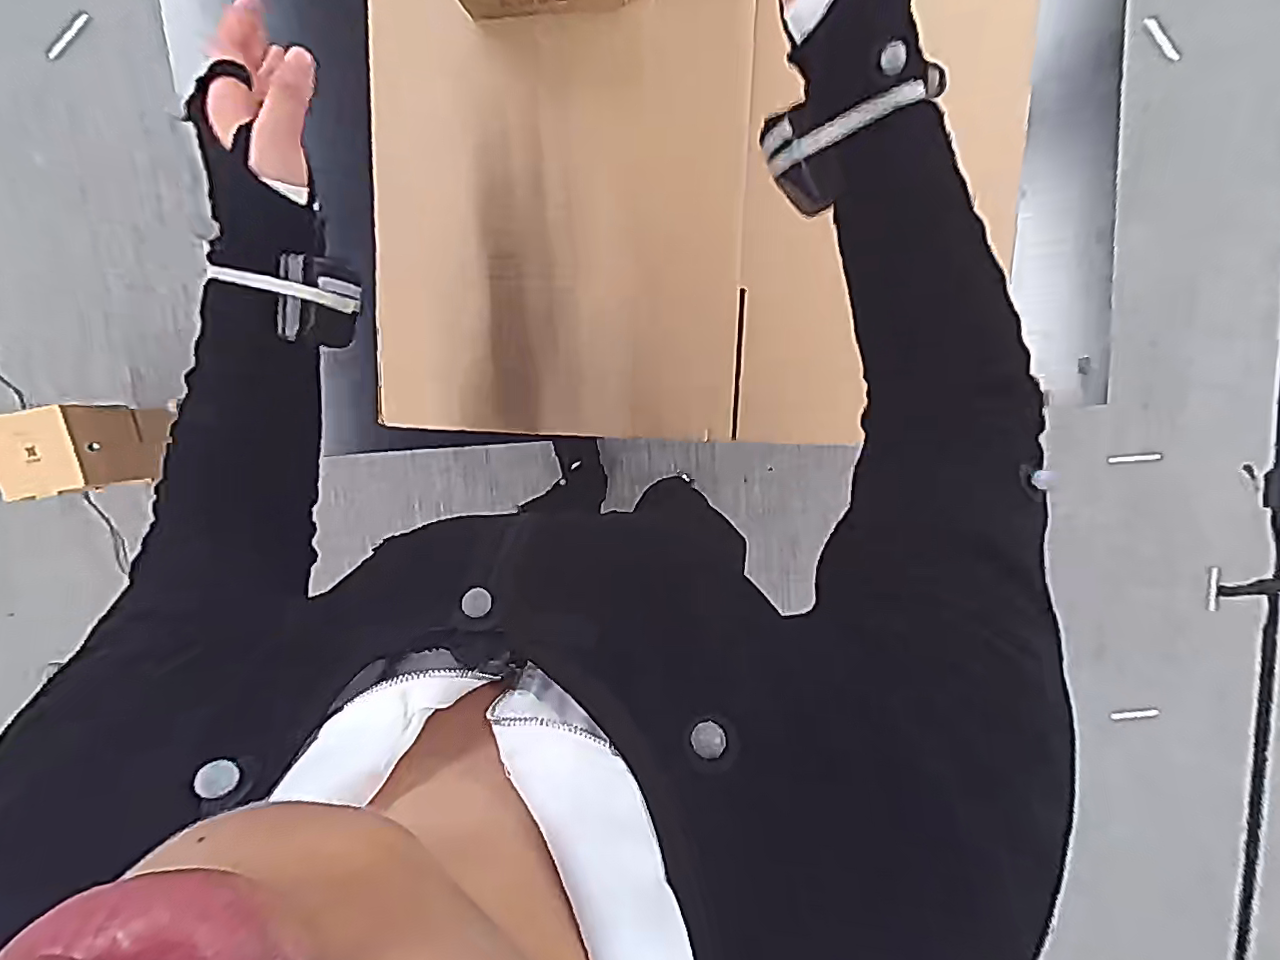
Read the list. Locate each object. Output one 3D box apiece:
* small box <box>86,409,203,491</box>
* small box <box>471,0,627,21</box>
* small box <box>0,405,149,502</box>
[{"bbox_3d":[-1.238,-0.079,1.337,0.168,0.176,0.179,-8,98,-2],"label":"small box"},{"bbox_3d":[-0.098,-0.529,0.438,0.168,0.176,0.179,5,97,11],"label":"small box"},{"bbox_3d":[-1.232,-0.063,1.175,0.168,0.176,0.179,-11,97,-2],"label":"small box"}]
